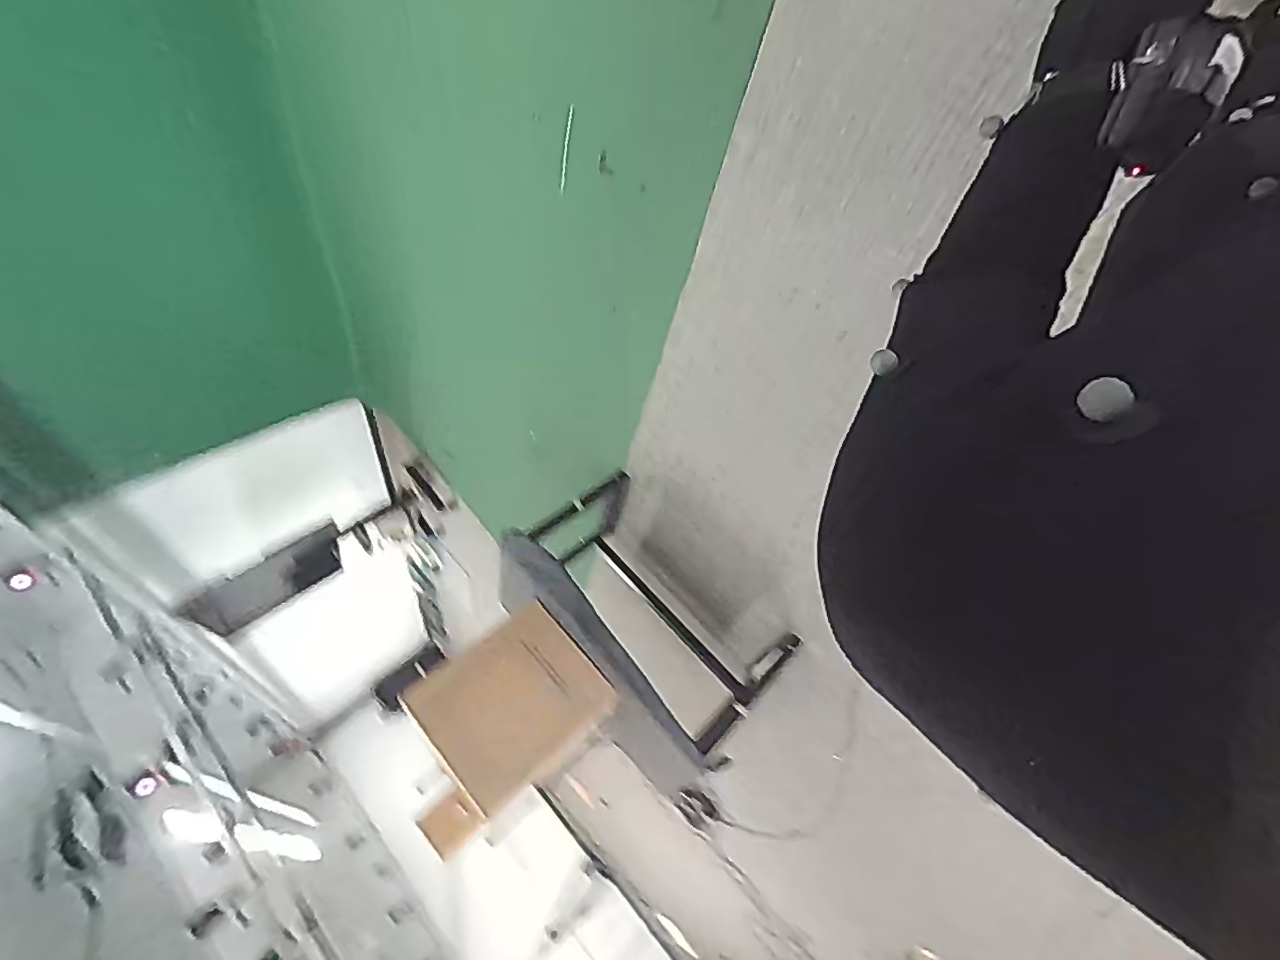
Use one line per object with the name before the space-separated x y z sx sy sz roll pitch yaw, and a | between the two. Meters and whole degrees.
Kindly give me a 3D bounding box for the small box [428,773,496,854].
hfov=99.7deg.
small box | -0.630 1.193 1.935 0.168 0.176 0.179 39 142 20
